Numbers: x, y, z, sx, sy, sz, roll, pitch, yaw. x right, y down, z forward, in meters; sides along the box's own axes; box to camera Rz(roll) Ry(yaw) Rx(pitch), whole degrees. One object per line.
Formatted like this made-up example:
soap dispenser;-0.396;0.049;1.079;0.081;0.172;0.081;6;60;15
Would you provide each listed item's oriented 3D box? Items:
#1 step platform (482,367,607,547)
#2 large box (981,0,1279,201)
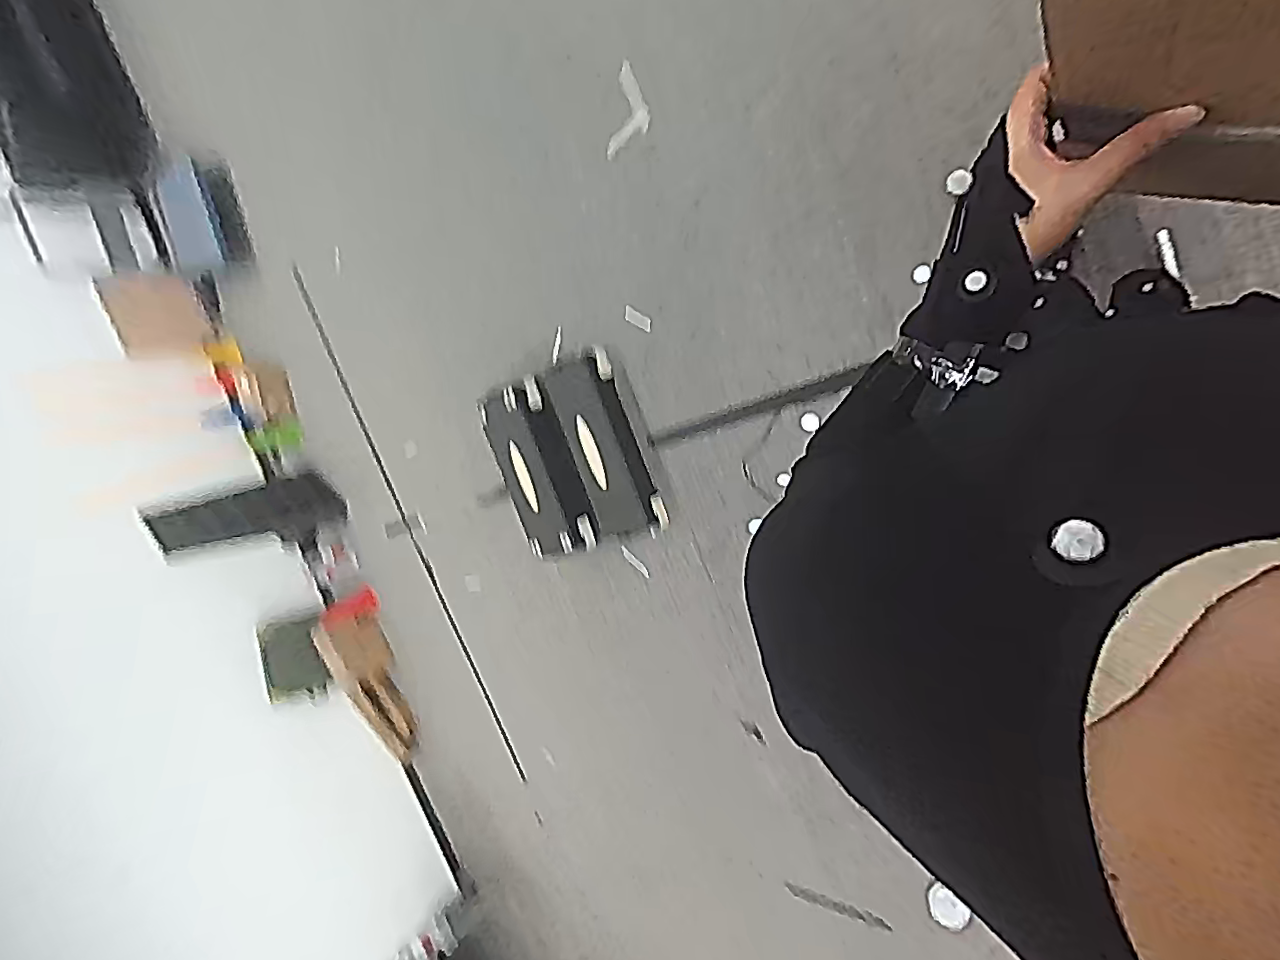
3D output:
step platform;-0.374;-0.078;2.109;0.286;0.204;0.684;-8;102;43
large box;0.414;-0.292;0.175;0.408;0.320;0.320;26;115;37
